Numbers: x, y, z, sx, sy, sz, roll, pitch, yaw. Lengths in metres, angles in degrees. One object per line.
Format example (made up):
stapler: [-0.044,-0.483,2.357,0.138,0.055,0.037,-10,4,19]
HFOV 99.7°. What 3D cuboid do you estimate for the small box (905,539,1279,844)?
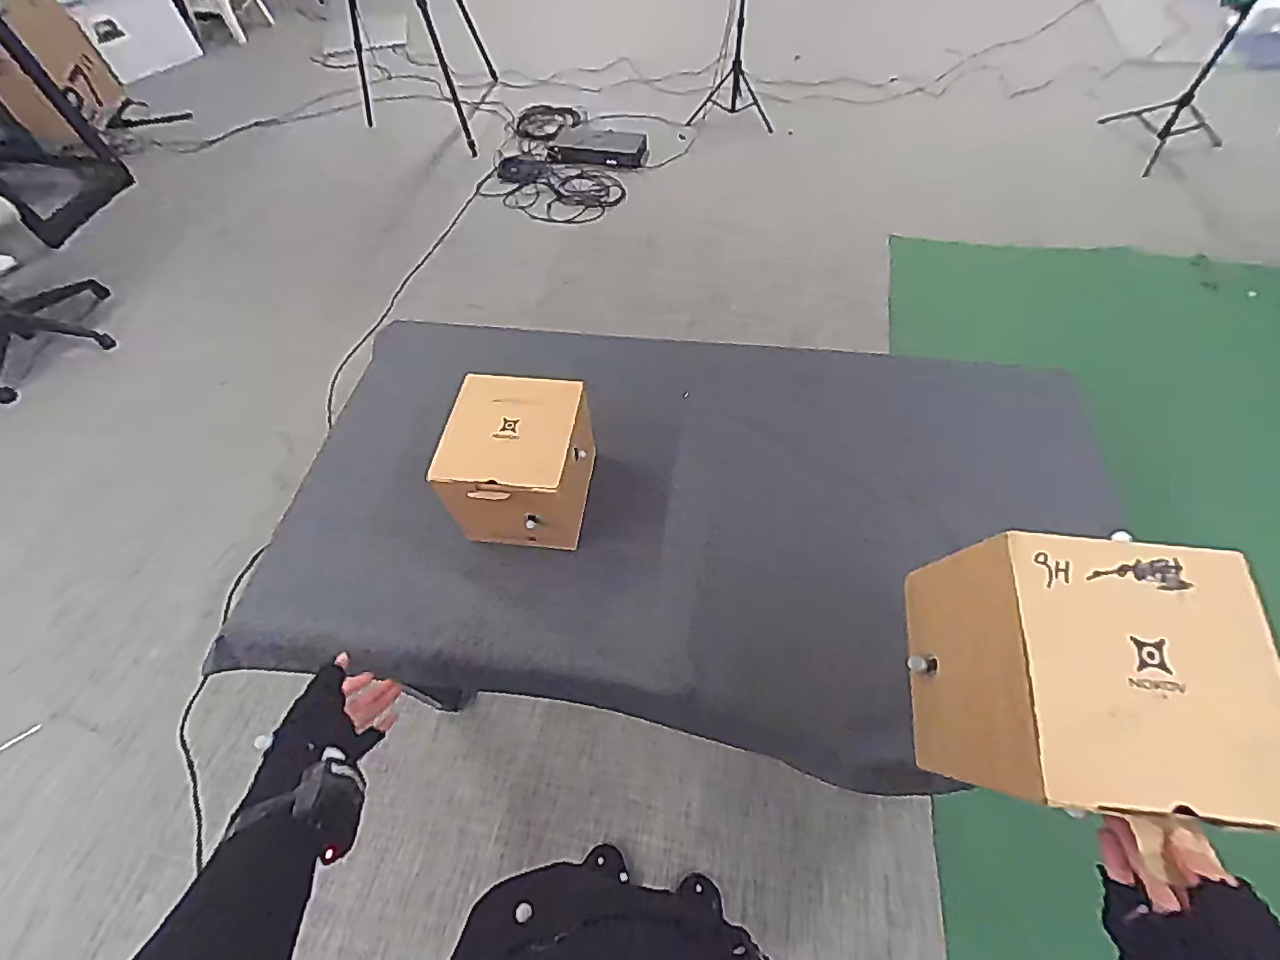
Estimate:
small box: [0.333,0.158,0.430,0.168,0.176,0.179,5,70,2]

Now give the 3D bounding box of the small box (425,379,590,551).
small box: [-0.168,-0.016,0.755,0.168,0.176,0.179,5,56,4]
